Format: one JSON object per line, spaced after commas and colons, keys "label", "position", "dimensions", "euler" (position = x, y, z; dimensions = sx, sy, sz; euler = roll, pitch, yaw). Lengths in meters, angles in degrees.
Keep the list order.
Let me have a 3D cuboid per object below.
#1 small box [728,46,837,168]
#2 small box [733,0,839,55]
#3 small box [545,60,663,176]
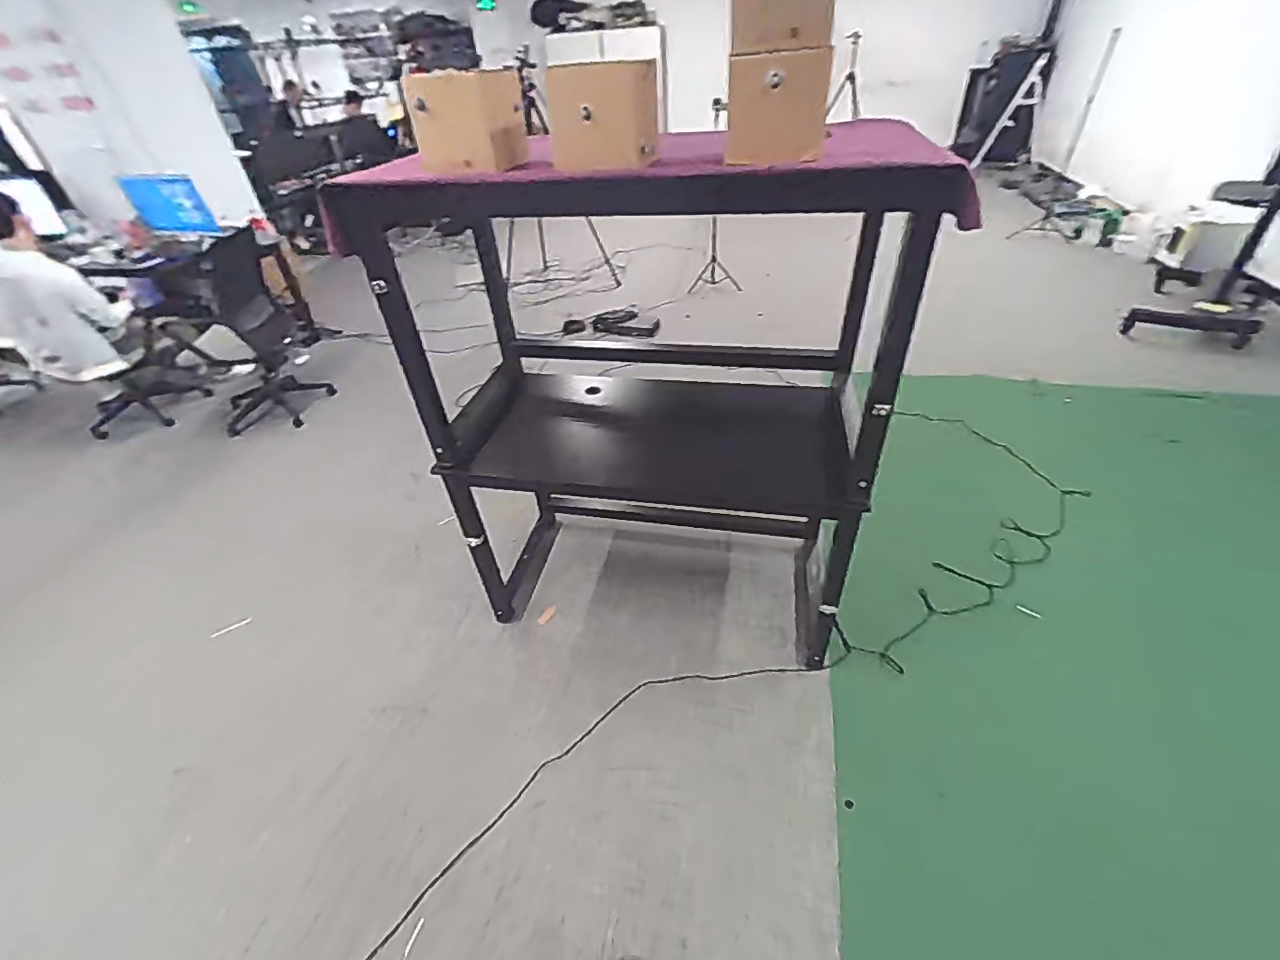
{"label": "small box", "position": [0.260, -0.685, 0.998], "dimensions": [0.179, 0.176, 0.168], "euler": [7, 40, 15]}
{"label": "small box", "position": [0.249, -0.819, 0.903], "dimensions": [0.168, 0.176, 0.179], "euler": [6, 40, 15]}
{"label": "small box", "position": [-0.059, -0.705, 1.056], "dimensions": [0.179, 0.176, 0.168], "euler": [7, 39, 16]}
